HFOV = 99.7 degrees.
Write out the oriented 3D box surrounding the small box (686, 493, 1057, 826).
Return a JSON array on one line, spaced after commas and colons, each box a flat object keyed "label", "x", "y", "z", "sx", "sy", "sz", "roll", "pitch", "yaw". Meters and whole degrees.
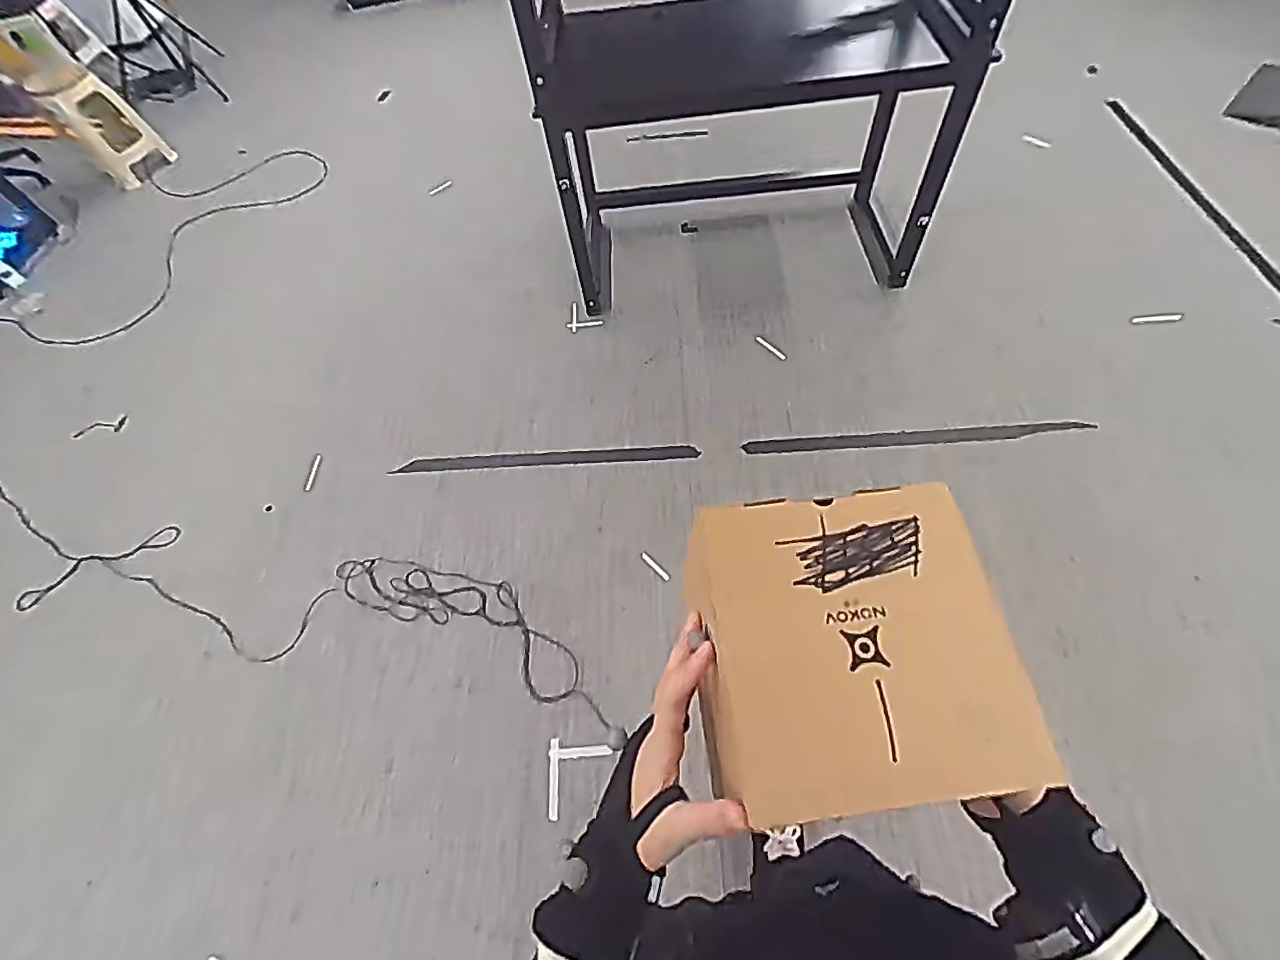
[{"label": "small box", "x": 0.129, "y": 0.128, "z": 0.387, "sx": 0.168, "sy": 0.176, "sz": 0.179, "roll": -6, "pitch": 64, "yaw": -3}]
